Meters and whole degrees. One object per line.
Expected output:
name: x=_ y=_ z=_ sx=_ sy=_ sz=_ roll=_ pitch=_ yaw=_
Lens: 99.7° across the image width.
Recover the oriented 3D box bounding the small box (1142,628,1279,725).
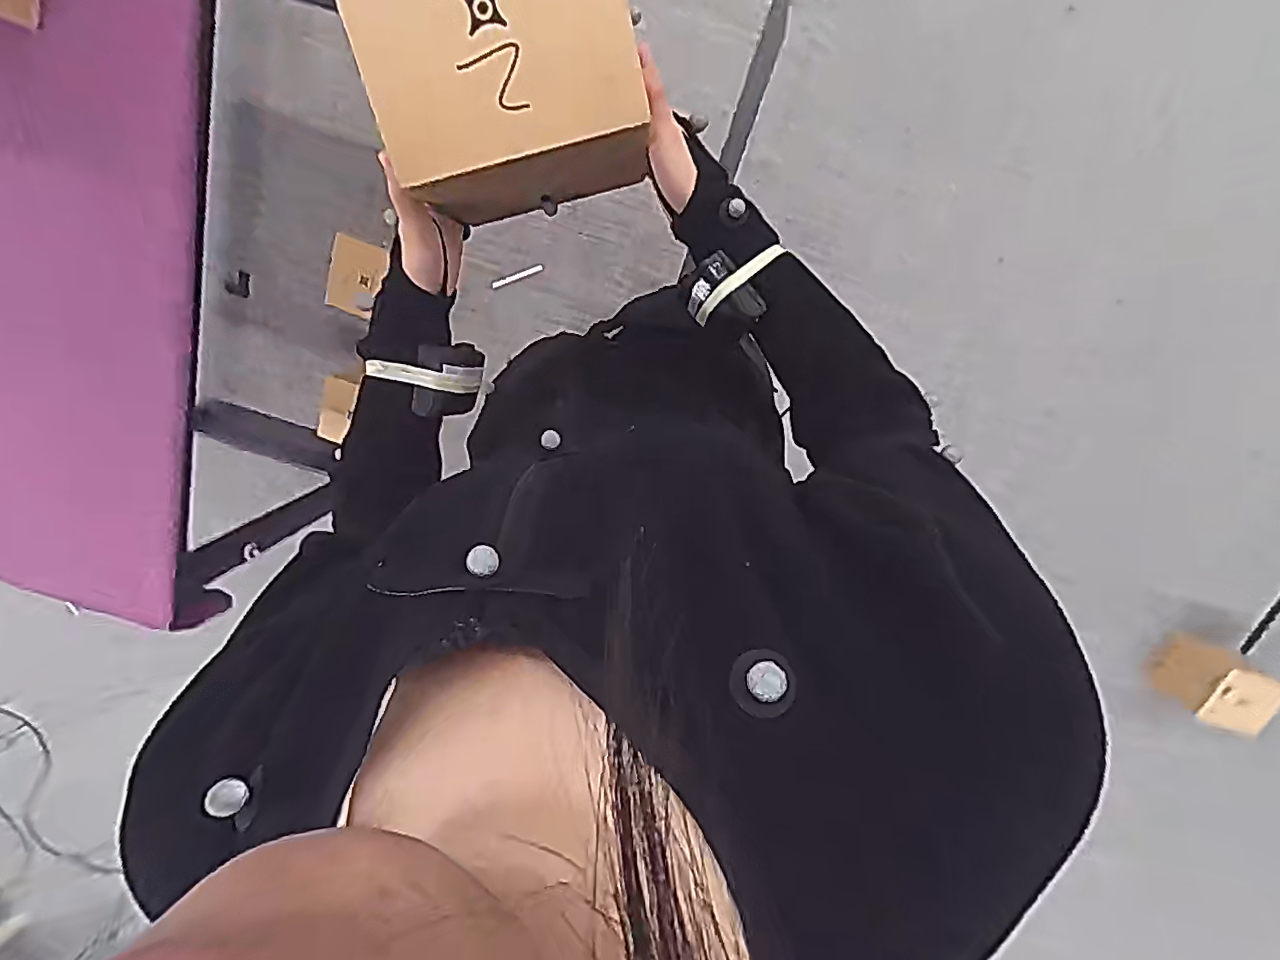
small box: x=1.578 y=0.538 z=1.499 sx=0.179 sy=0.176 sz=0.168 roll=16 pitch=108 yaw=-3

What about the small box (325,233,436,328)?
small box: x=-0.625 y=-0.483 z=1.320 sx=0.179 sy=0.176 sz=0.168 roll=20 pitch=107 yaw=-1

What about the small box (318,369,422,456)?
small box: x=-0.701 y=-0.184 z=1.420 sx=0.179 sy=0.176 sz=0.168 roll=19 pitch=108 yaw=-1

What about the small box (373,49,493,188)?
small box: x=-0.449 y=-0.793 z=1.208 sx=0.168 sy=0.176 sz=0.179 roll=34 pitch=108 yaw=-8
